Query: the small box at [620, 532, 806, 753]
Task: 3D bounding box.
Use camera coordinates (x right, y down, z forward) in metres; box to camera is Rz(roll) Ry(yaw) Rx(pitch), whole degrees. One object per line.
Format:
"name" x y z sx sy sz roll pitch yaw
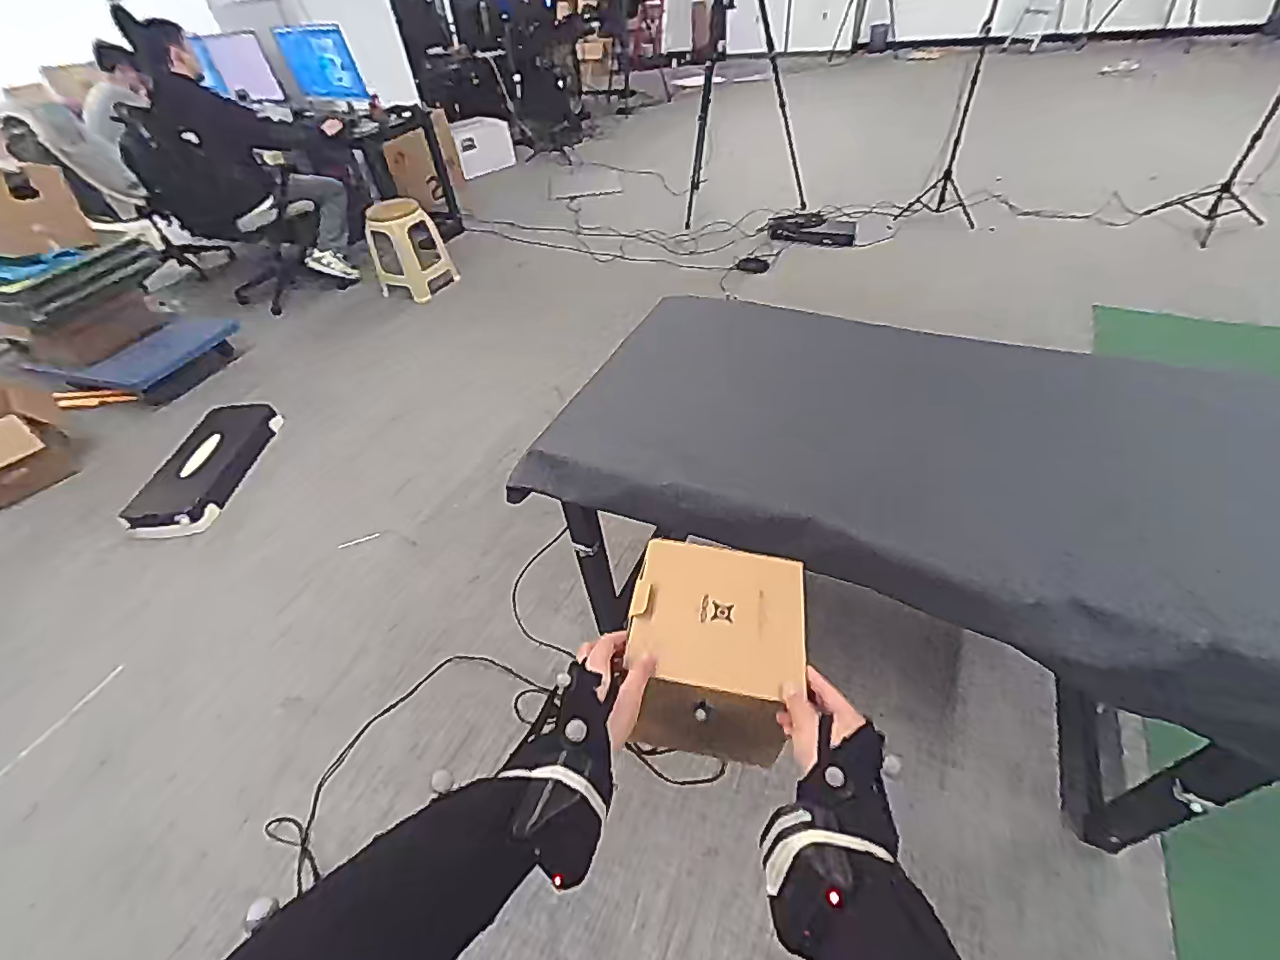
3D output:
"small box" 0.077 0.184 0.609 0.179 0.176 0.168 9 45 5
